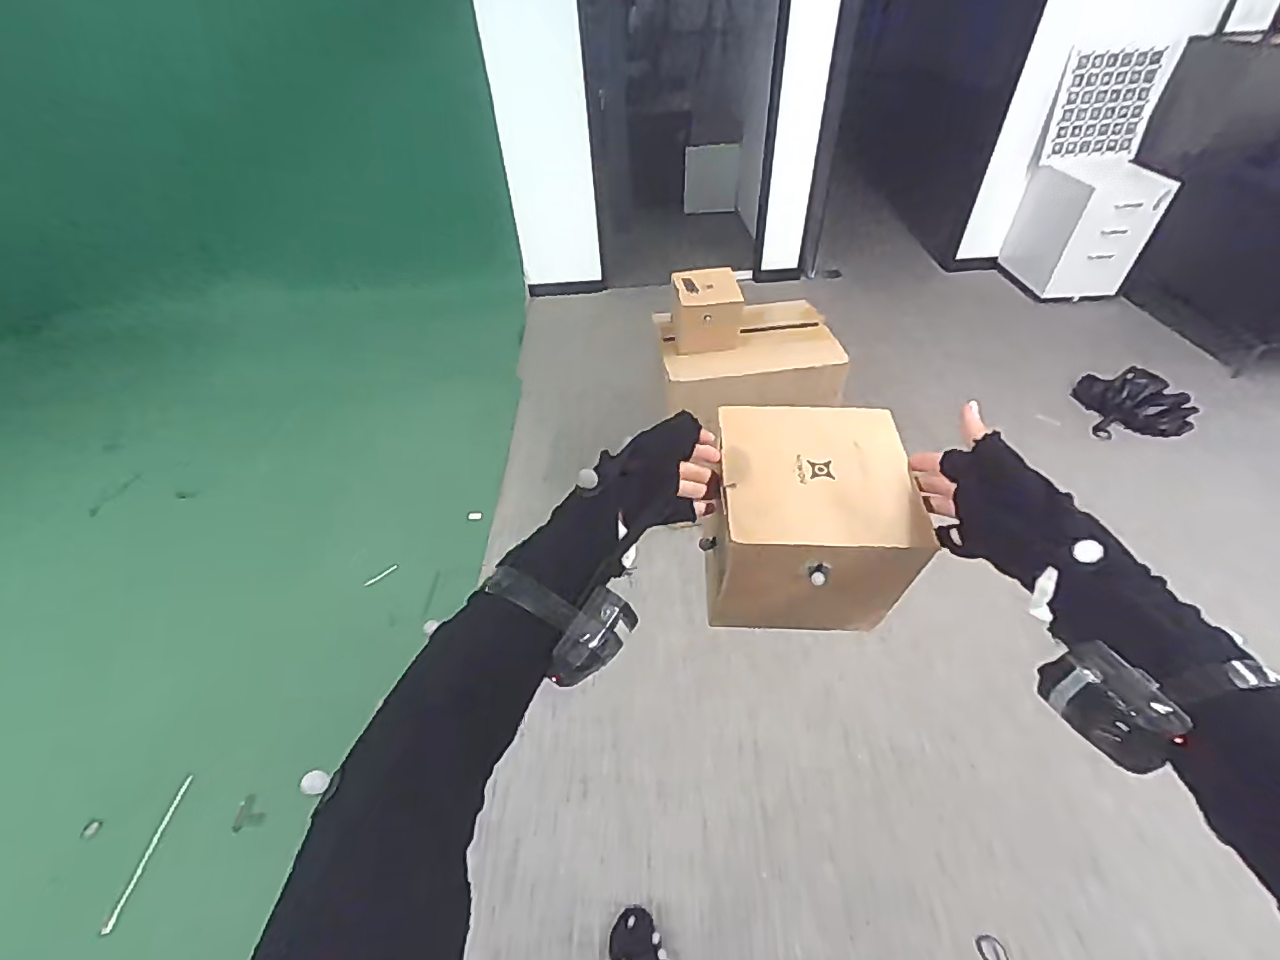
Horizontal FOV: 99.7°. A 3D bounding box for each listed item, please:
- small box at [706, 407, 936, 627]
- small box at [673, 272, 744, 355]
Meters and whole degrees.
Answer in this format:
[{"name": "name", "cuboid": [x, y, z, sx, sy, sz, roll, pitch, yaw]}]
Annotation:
[{"name": "small box", "cuboid": [0.163, 0.042, 0.564, 0.179, 0.176, 0.168, 2, 51, 0]}, {"name": "small box", "cuboid": [0.192, -0.482, 1.582, 0.179, 0.176, 0.168, -6, 53, -4]}]
